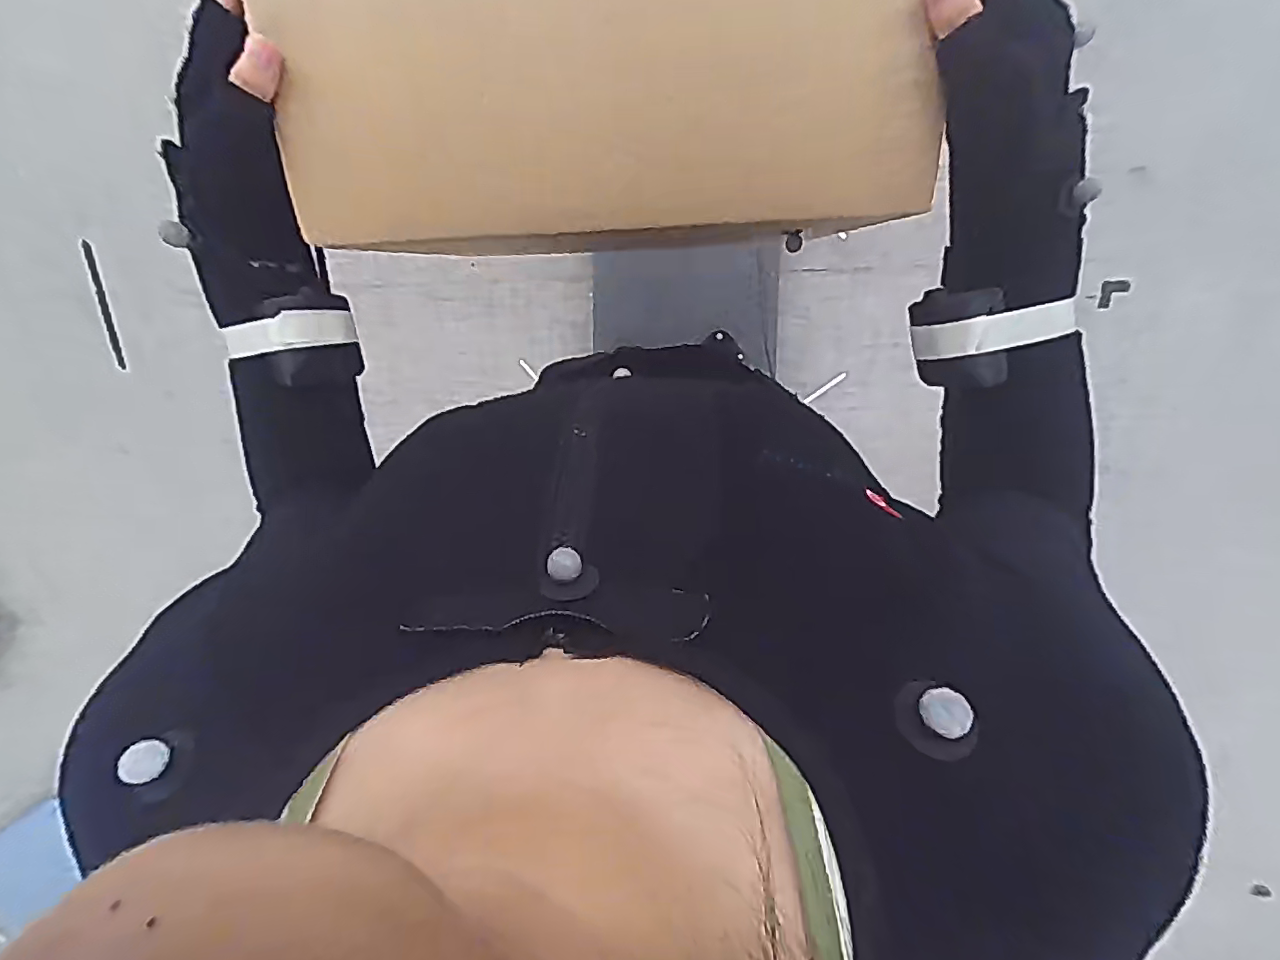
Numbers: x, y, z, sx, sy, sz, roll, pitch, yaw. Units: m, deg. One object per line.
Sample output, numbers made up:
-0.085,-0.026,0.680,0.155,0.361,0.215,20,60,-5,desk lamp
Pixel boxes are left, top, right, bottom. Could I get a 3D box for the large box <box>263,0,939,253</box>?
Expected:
-0.019,-0.365,0.443,0.408,0.320,0.320,-1,111,4,large box
